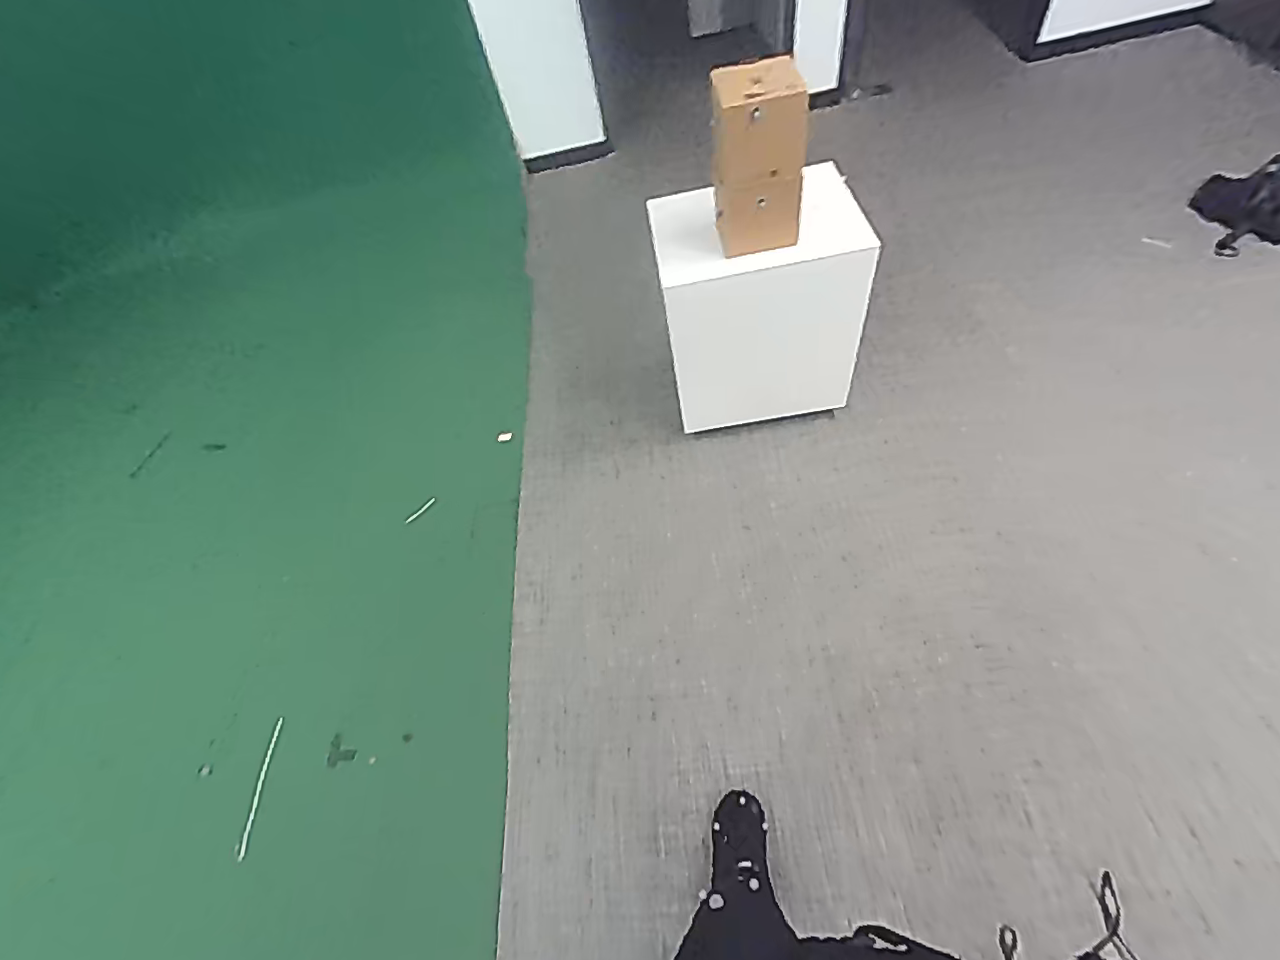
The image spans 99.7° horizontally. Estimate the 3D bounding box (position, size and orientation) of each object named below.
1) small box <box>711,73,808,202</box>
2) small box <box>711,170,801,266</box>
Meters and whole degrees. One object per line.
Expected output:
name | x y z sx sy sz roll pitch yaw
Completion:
small box | 0.248 -0.730 1.160 0.168 0.176 0.179 -11 55 3
small box | 0.274 -0.637 1.289 0.179 0.176 0.168 -10 55 4
